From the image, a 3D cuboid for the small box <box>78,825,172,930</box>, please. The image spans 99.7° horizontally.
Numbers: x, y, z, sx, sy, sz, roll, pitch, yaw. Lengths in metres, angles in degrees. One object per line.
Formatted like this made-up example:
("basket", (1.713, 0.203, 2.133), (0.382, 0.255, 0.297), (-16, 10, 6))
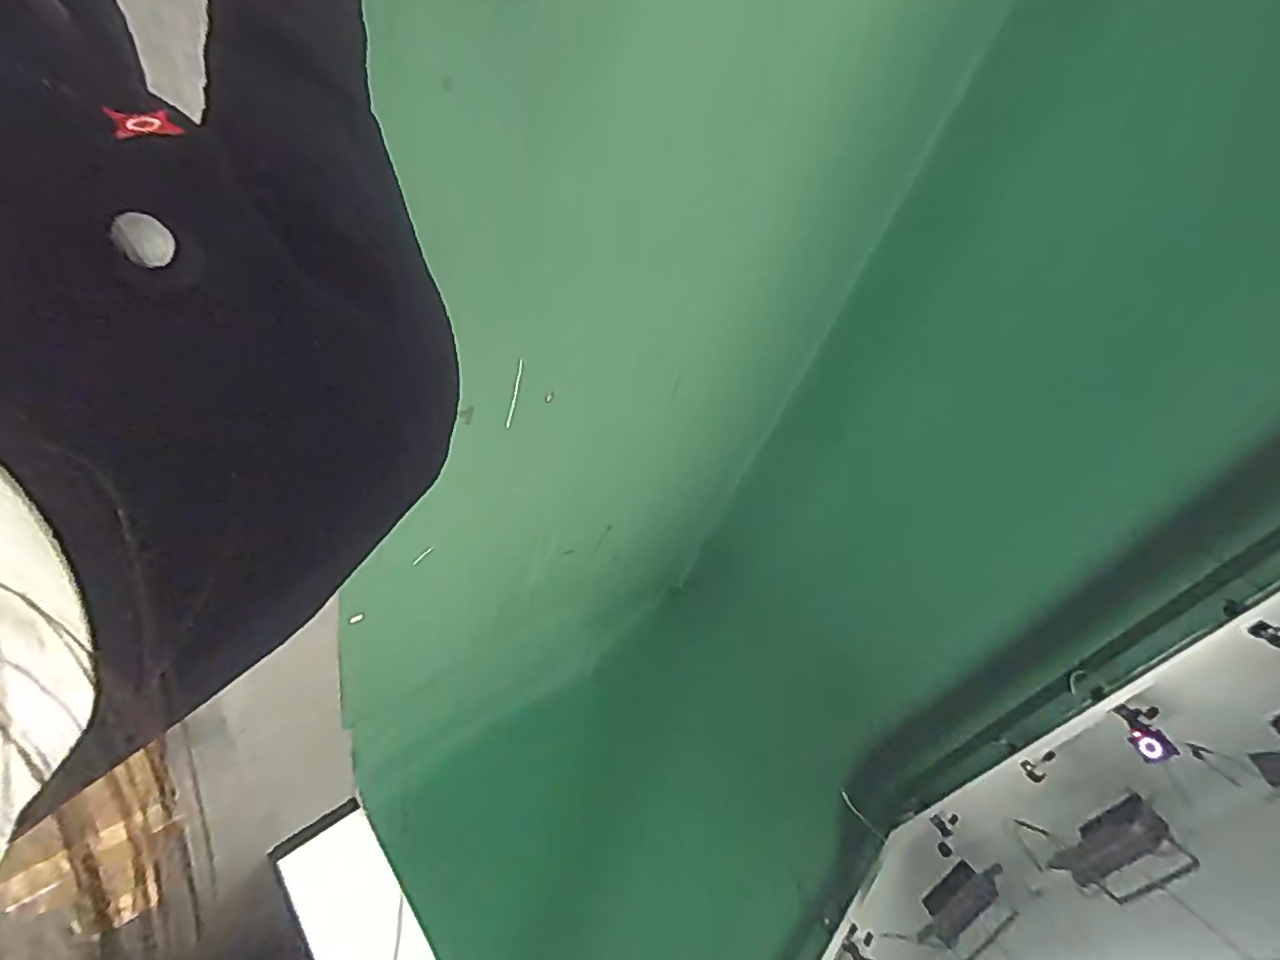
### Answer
("small box", (-1.611, 1.236, 1.690), (0.179, 0.176, 0.168), (-21, 138, -40))
